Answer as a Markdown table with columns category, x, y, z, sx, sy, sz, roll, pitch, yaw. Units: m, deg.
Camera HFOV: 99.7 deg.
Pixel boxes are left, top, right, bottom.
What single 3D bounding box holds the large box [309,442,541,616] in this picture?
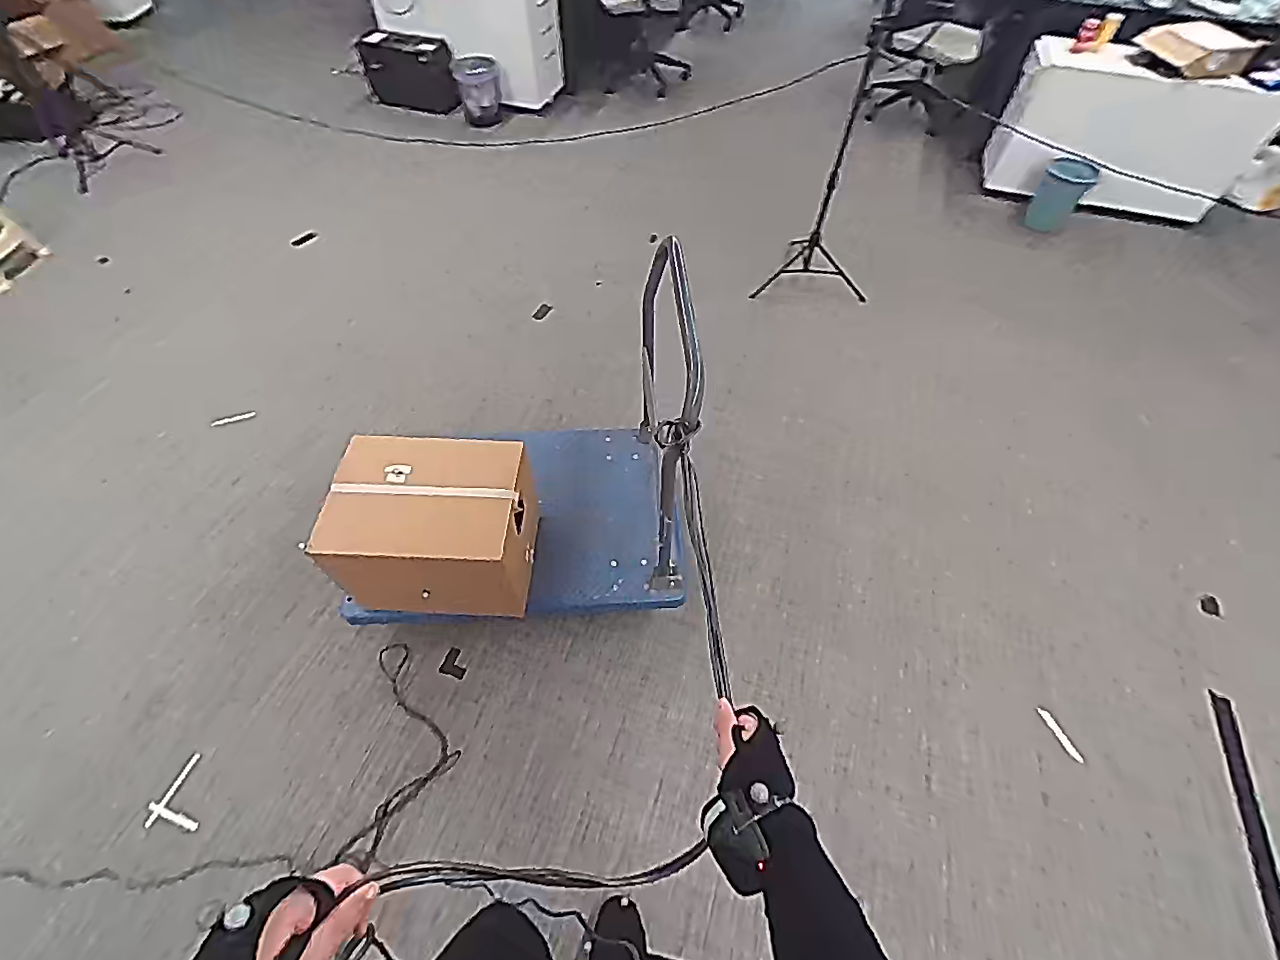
| category | x | y | z | sx | sy | sz | roll | pitch | yaw |
| --- | --- | --- | --- | --- | --- | --- | --- | --- | --- |
| large box | -0.469 | 0.125 | 1.295 | 0.408 | 0.320 | 0.320 | 2 | 54 | 0 |
